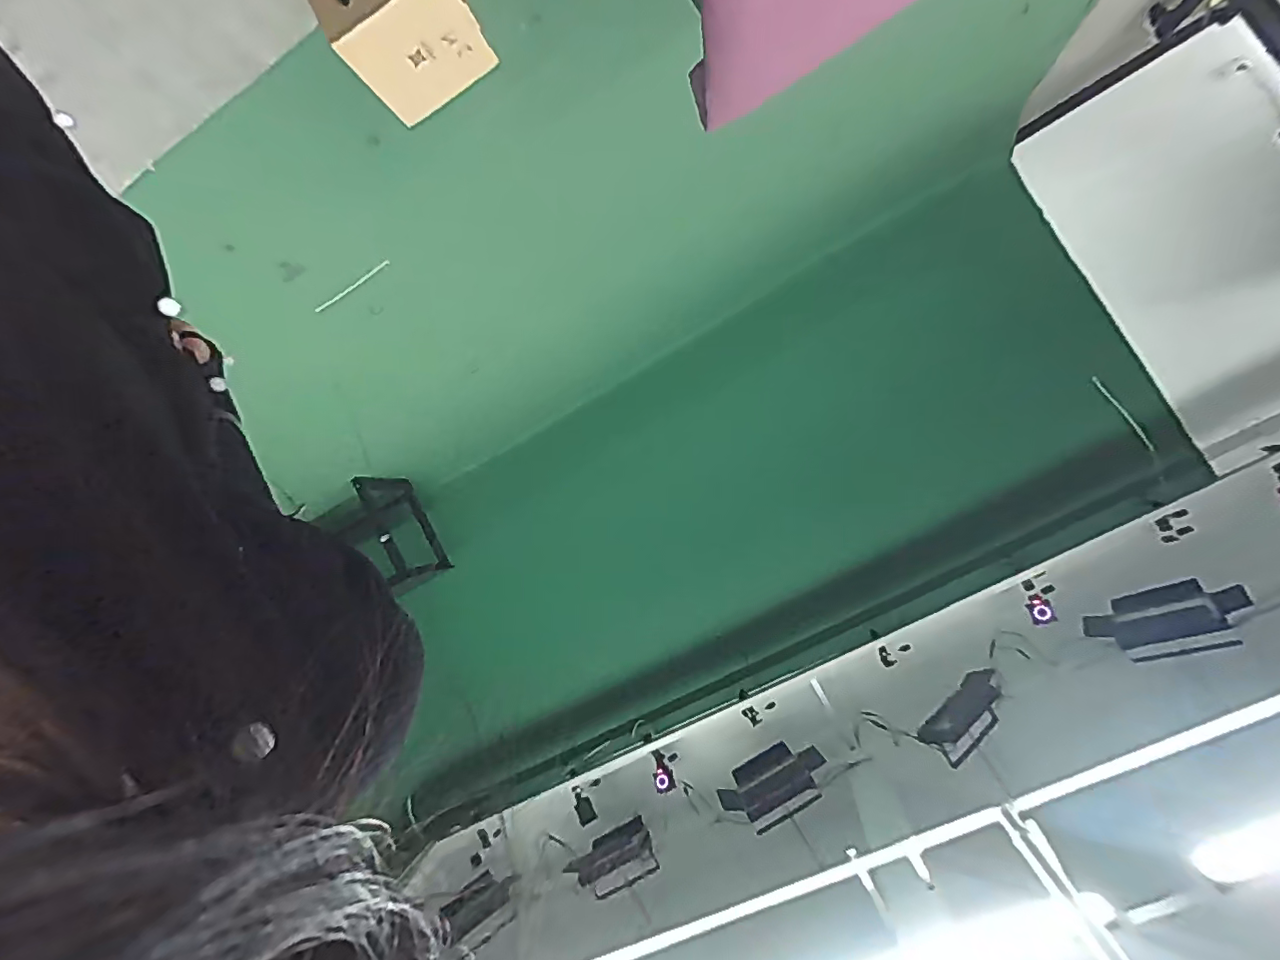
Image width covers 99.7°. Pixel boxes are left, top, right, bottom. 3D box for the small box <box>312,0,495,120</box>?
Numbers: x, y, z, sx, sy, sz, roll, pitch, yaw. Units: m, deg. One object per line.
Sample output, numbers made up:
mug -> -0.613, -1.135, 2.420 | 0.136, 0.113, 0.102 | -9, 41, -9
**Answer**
small box -> -0.340, -0.666, 0.749 | 0.179, 0.176, 0.168 | -28, 176, 9
